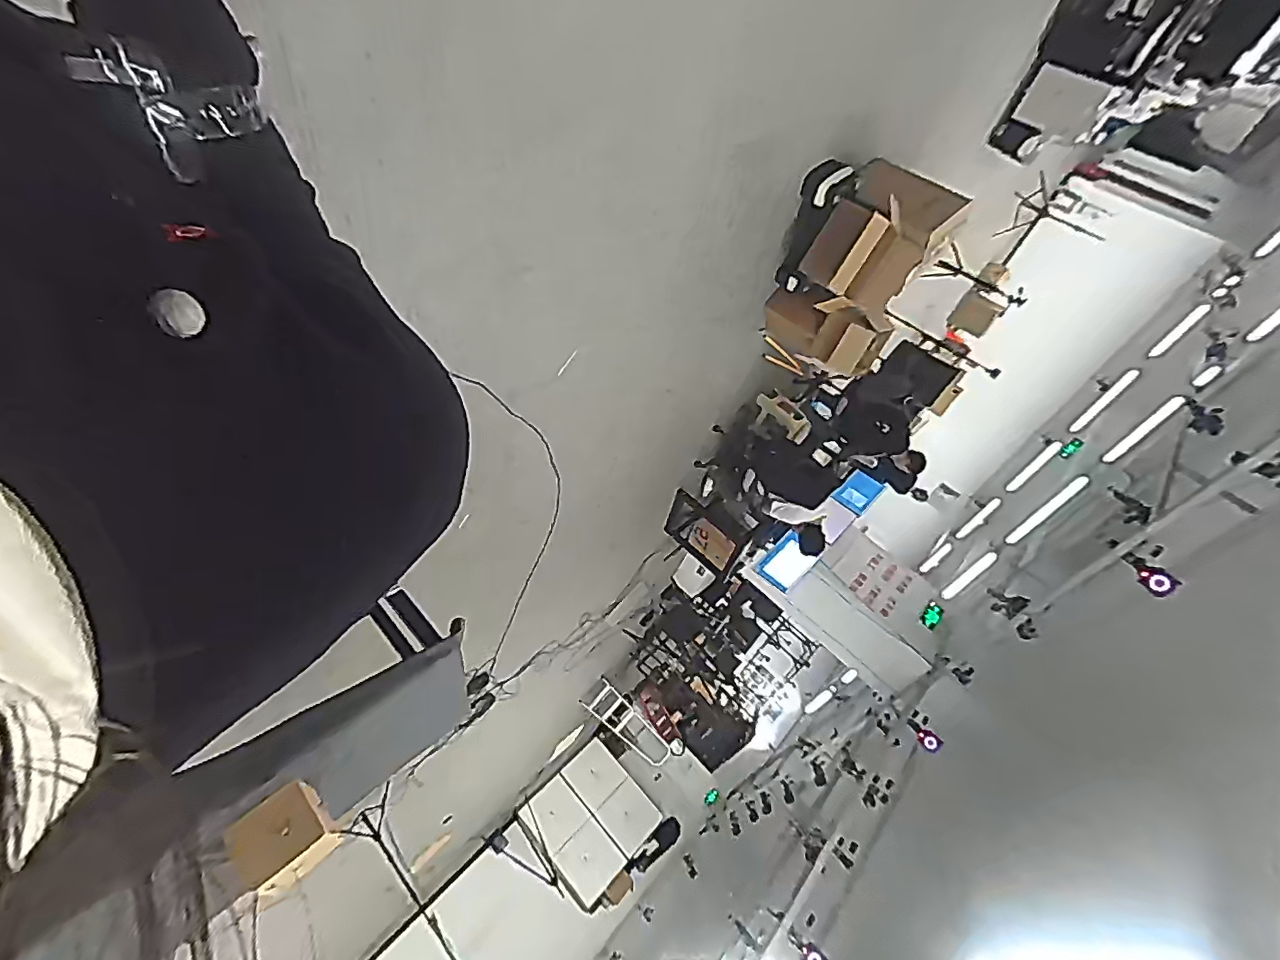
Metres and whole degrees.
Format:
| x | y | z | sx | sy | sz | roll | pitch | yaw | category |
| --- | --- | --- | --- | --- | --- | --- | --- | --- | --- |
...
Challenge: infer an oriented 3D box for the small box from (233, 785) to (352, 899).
| x | y | z | sx | sy | sz | roll | pitch | yaw | category |
| --- | --- | --- | --- | --- | --- | --- | --- | --- | --- |
| -0.876 | 0.912 | 1.370 | 0.179 | 0.176 | 0.168 | -36 | 156 | -30 | small box |
